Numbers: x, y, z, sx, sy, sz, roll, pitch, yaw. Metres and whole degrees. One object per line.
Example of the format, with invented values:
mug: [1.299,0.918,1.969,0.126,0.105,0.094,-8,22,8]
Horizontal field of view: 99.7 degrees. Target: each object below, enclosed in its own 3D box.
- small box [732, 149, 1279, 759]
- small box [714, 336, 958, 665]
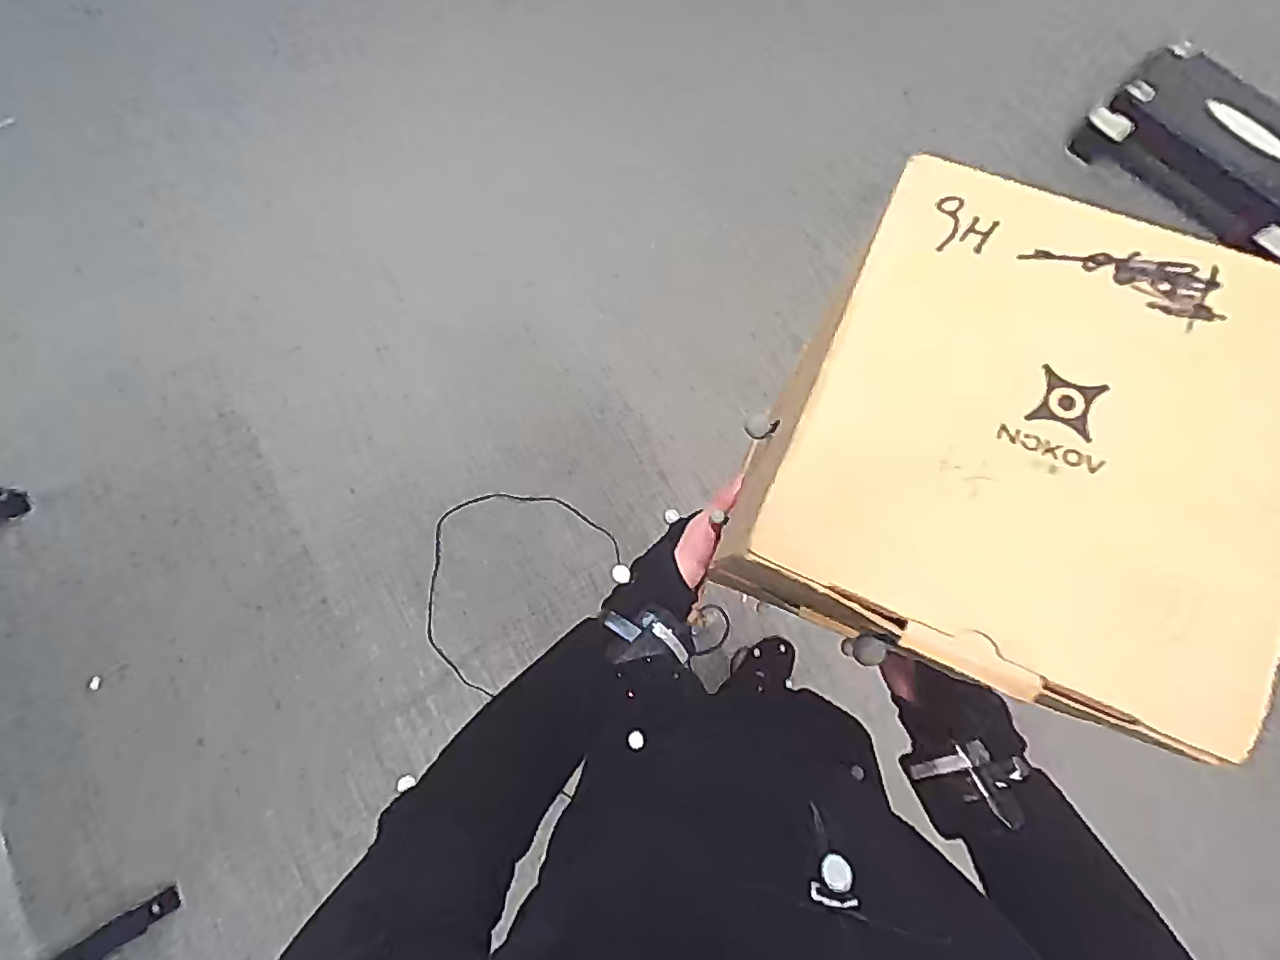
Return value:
small box: [0.152,-0.008,0.268,0.168,0.176,0.179,23,83,8]
small box: [0.163,0.021,0.429,0.168,0.176,0.179,21,81,8]
